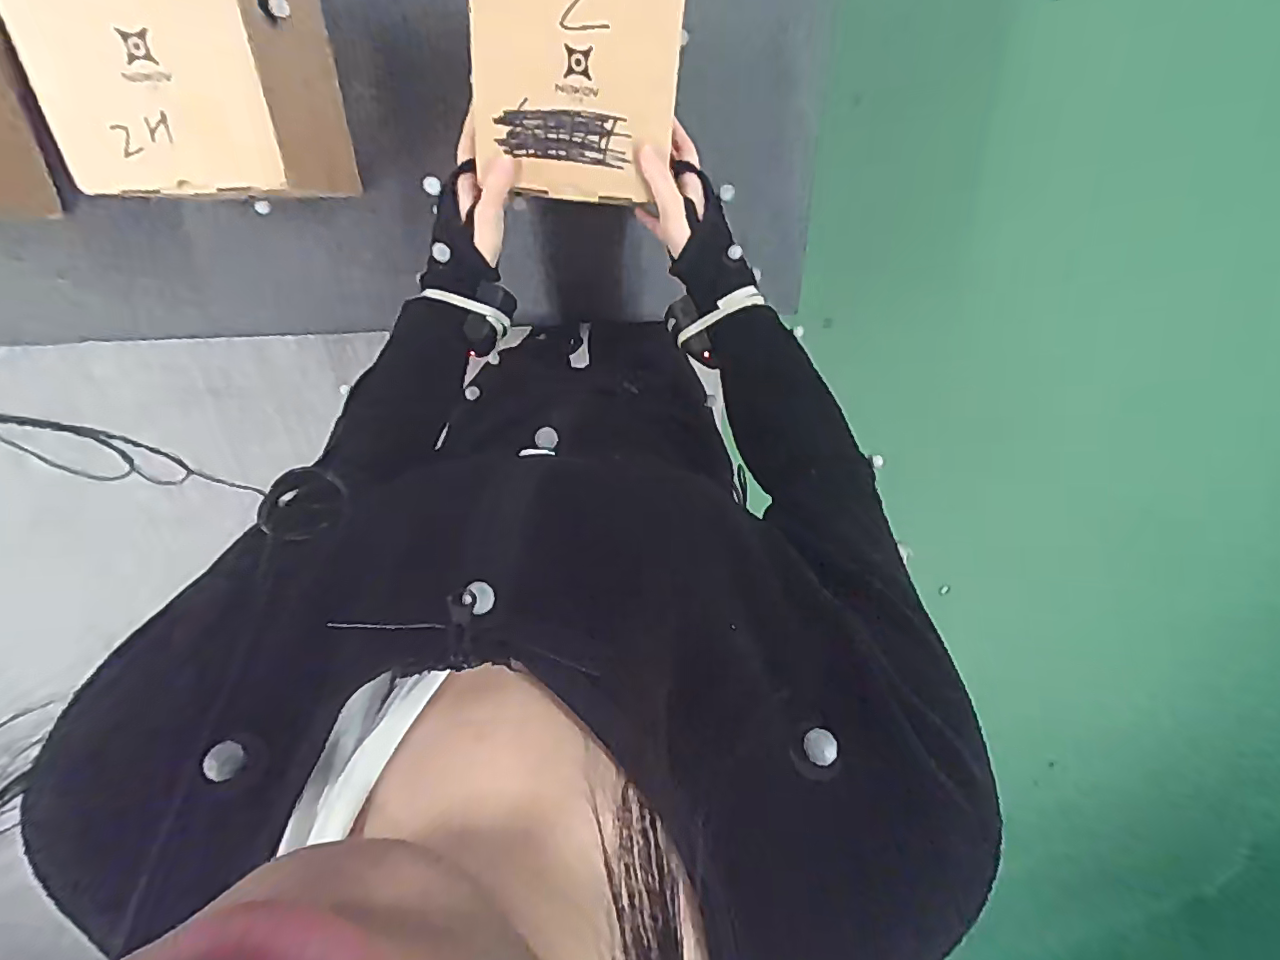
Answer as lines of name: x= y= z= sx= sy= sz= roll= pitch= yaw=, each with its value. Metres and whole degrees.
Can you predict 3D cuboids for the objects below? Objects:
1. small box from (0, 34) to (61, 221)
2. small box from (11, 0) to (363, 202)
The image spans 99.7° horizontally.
small box: x=-0.677 y=-0.324 z=0.464 sx=0.168 sy=0.176 sz=0.179 roll=1 pitch=115 yaw=-7
small box: x=-0.377 y=-0.350 z=0.482 sx=0.168 sy=0.176 sz=0.179 roll=-3 pitch=116 yaw=-4
